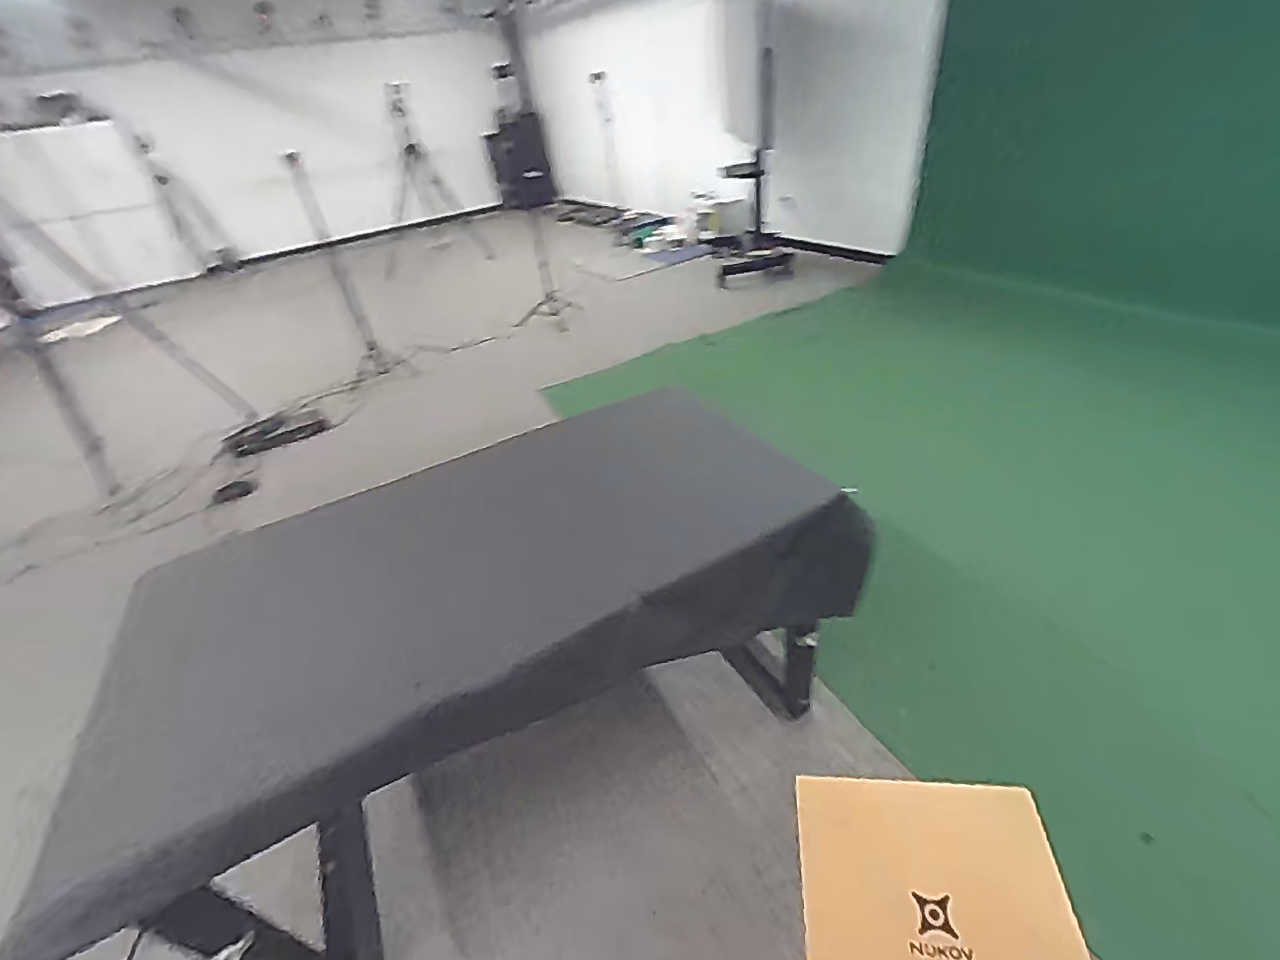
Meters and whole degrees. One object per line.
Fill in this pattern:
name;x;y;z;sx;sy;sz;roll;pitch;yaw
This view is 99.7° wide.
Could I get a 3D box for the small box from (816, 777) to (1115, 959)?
small box;0.217;0.346;0.389;0.168;0.176;0.179;-4;40;15
